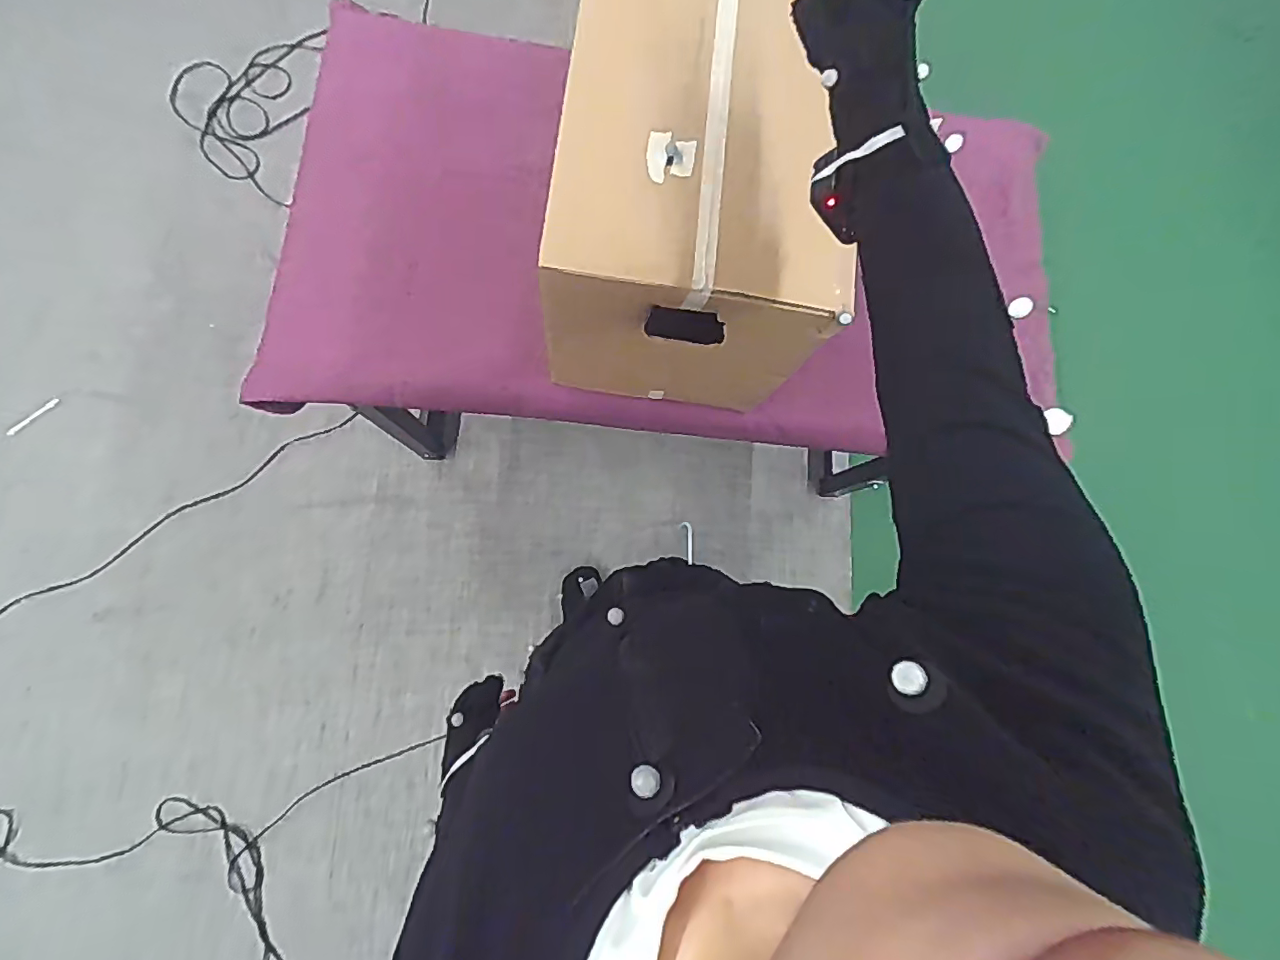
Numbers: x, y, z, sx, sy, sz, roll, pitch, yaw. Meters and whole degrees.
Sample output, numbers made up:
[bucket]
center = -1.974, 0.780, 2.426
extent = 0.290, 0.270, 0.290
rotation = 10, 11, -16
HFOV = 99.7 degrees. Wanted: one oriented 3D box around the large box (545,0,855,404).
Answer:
[large box]
center = 0.058, -0.353, 0.716
extent = 0.320, 0.320, 0.408
rotation = 7, 80, -5
